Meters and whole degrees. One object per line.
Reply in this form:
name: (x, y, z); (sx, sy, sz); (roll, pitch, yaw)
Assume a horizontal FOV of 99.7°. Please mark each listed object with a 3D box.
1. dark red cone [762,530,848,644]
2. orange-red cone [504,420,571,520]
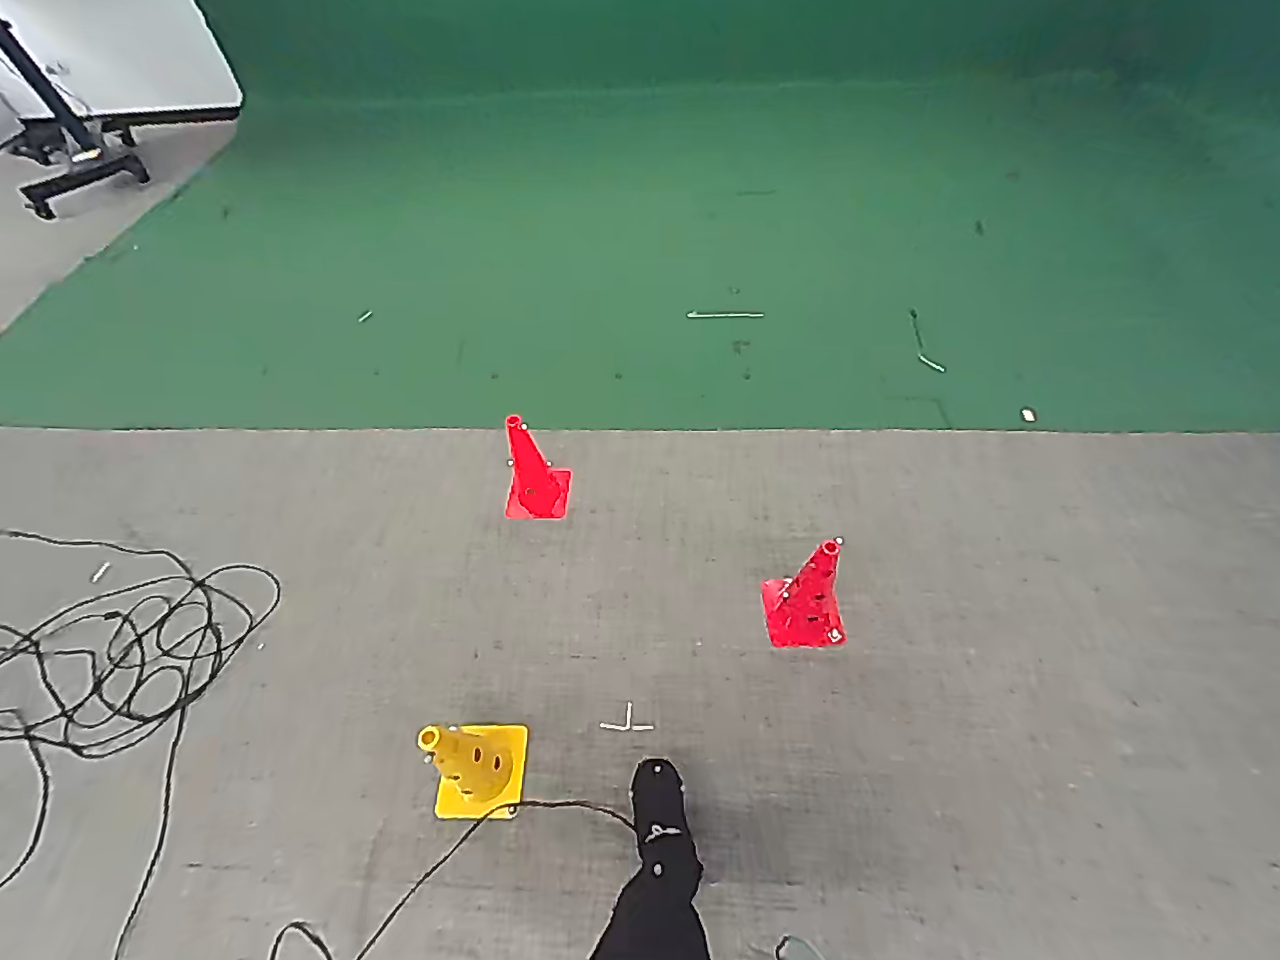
dark red cone: (0.434, 0.245, 1.342); (0.202, 0.394, 0.201); (-4, 52, 2)
orange-red cone: (-0.347, -0.051, 1.657); (0.198, 0.360, 0.199); (0, 54, 6)
